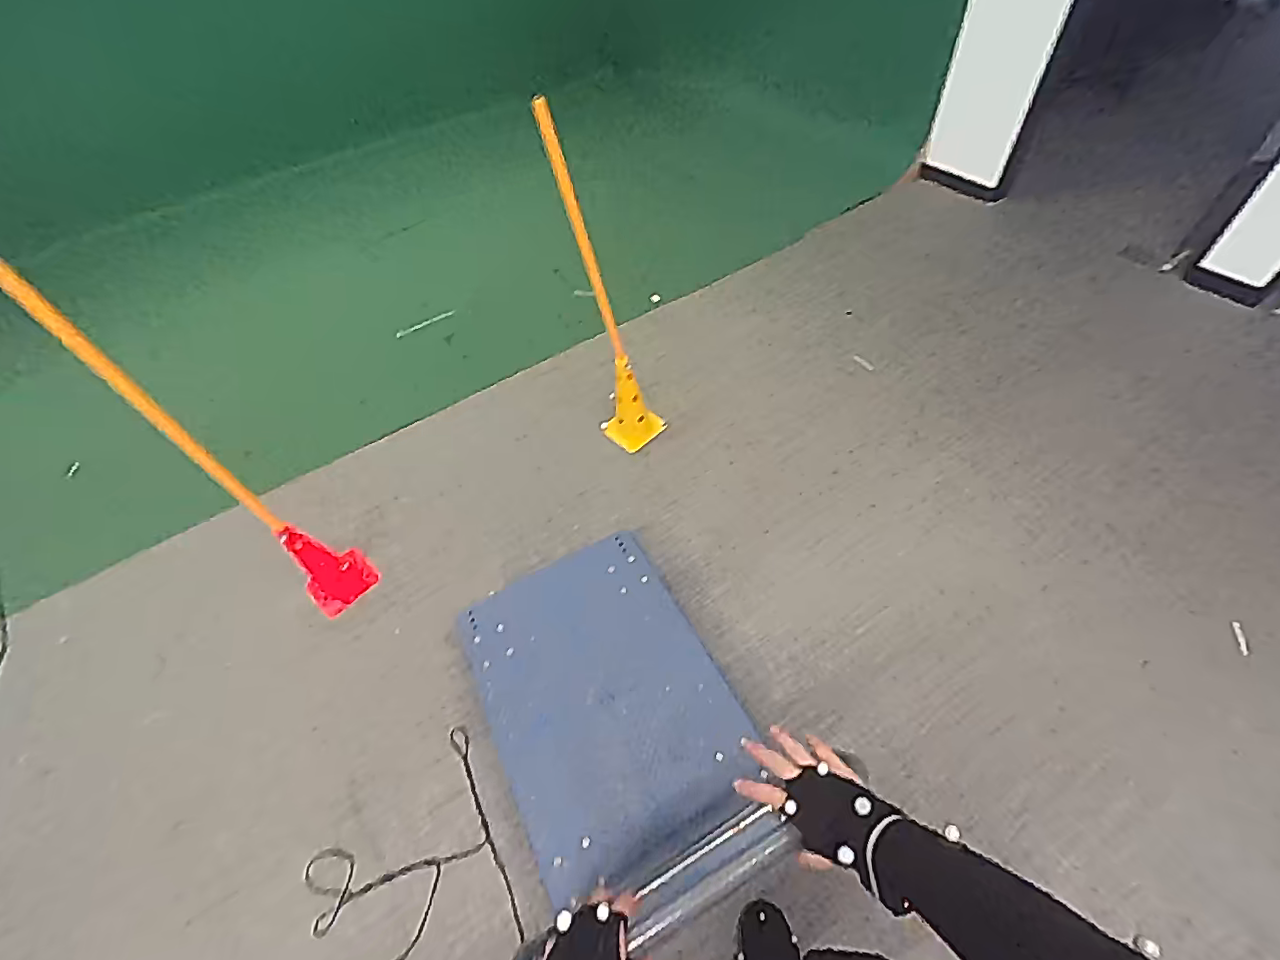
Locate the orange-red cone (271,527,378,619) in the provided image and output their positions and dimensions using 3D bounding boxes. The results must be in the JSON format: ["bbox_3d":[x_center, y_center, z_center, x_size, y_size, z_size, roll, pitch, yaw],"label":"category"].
[{"bbox_3d":[-1.045,0.259,1.725,0.198,0.360,0.199,34,65,29],"label":"orange-red cone"}]
